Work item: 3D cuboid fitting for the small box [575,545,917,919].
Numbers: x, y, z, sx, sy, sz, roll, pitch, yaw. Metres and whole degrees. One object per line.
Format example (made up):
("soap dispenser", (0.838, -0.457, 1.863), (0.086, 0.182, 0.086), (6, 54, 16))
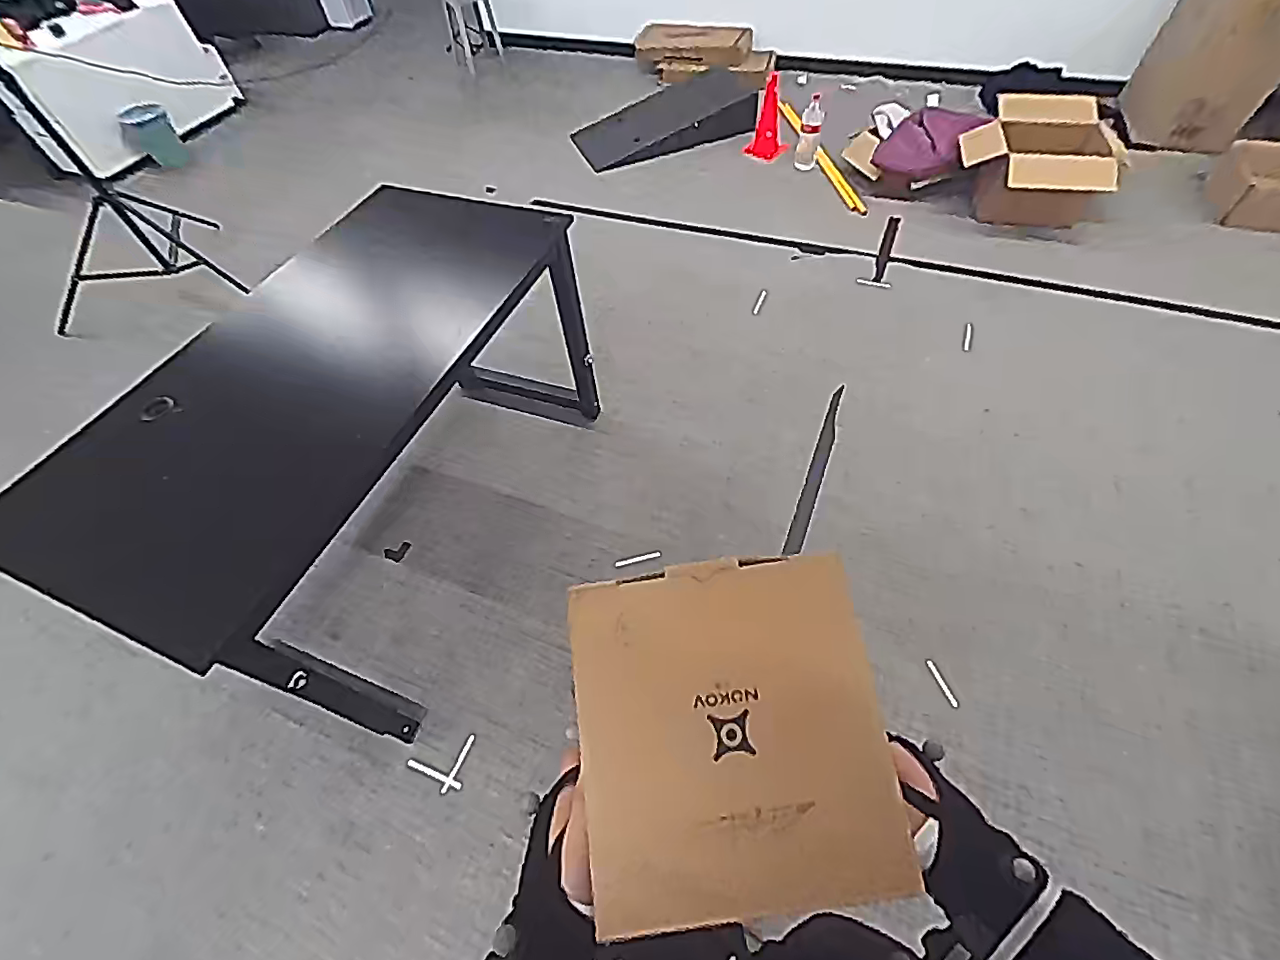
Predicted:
("small box", (0.052, 0.156, 0.375), (0.168, 0.176, 0.179), (-8, 71, 0))
